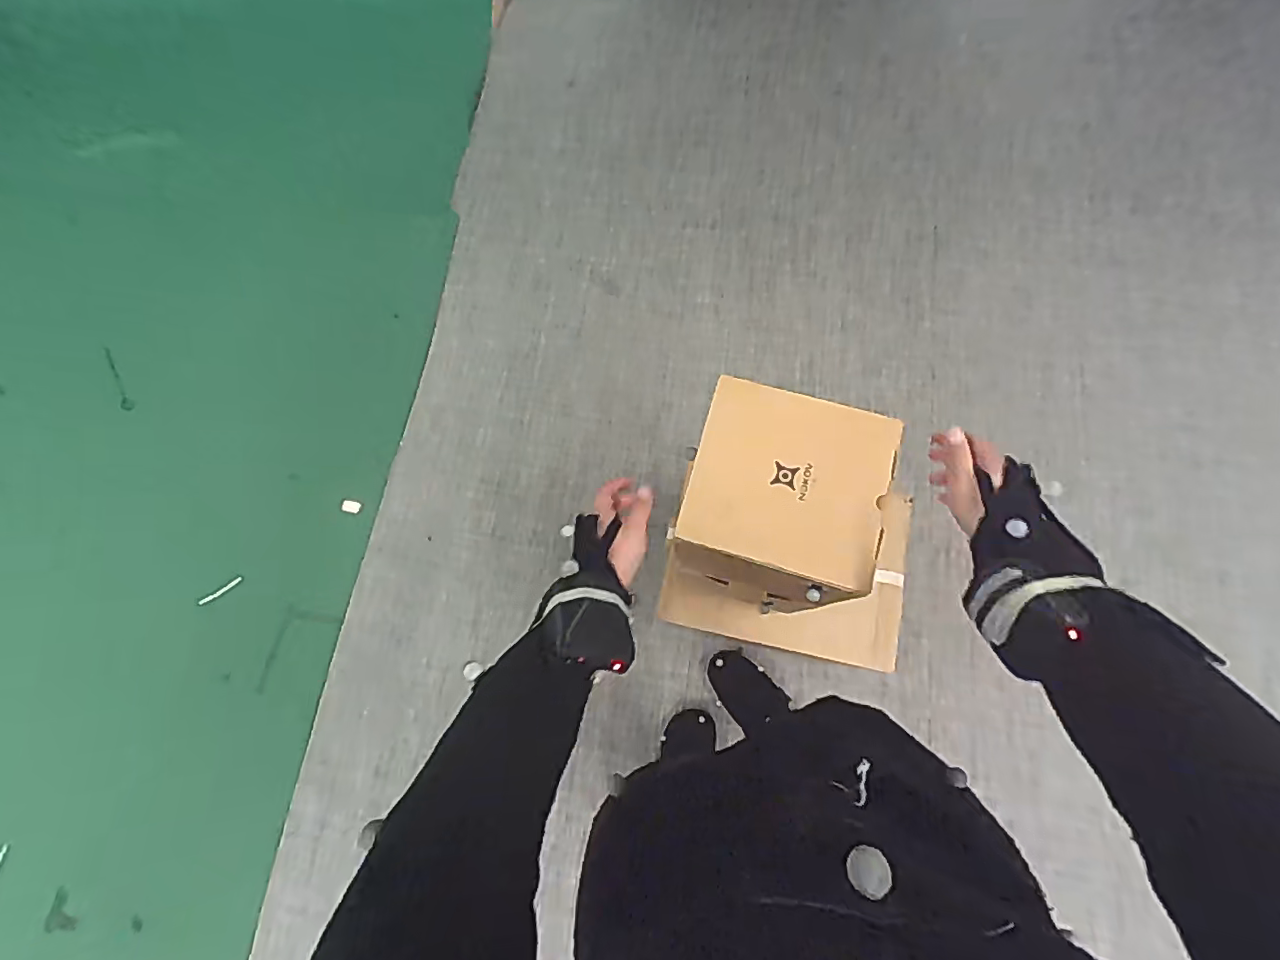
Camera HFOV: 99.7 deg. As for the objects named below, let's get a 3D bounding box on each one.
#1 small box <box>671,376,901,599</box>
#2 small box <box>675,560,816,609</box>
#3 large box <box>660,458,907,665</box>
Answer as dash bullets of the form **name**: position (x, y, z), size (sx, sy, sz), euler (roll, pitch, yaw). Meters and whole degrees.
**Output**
- **small box**: position (0.136, 0.020, 0.558), size (0.179, 0.176, 0.168), euler (16, 76, 7)
- **small box**: position (0.147, 0.065, 0.714), size (0.168, 0.176, 0.179), euler (14, 75, 6)
- **large box**: position (0.264, 0.171, 1.098), size (0.408, 0.320, 0.320), euler (11, 76, 7)
